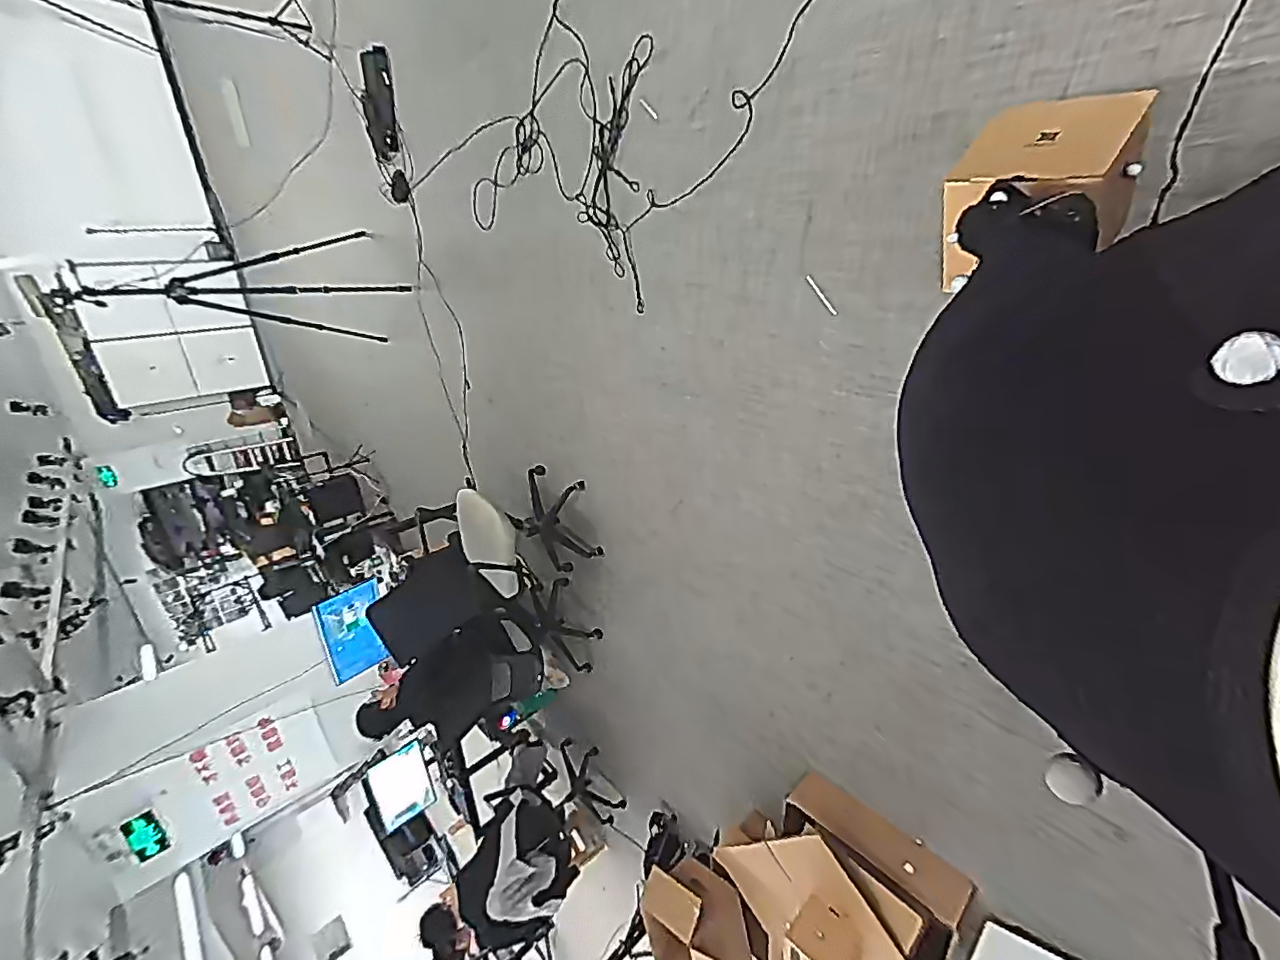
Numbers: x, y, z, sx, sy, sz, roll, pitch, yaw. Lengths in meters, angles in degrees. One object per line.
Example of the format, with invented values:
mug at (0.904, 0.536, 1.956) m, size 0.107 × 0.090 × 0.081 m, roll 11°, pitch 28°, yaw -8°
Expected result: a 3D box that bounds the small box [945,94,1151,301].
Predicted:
small box at (0.527, -0.369, 0.720) m, size 0.168 × 0.179 × 0.176 m, roll 24°, pitch 158°, yaw 41°
